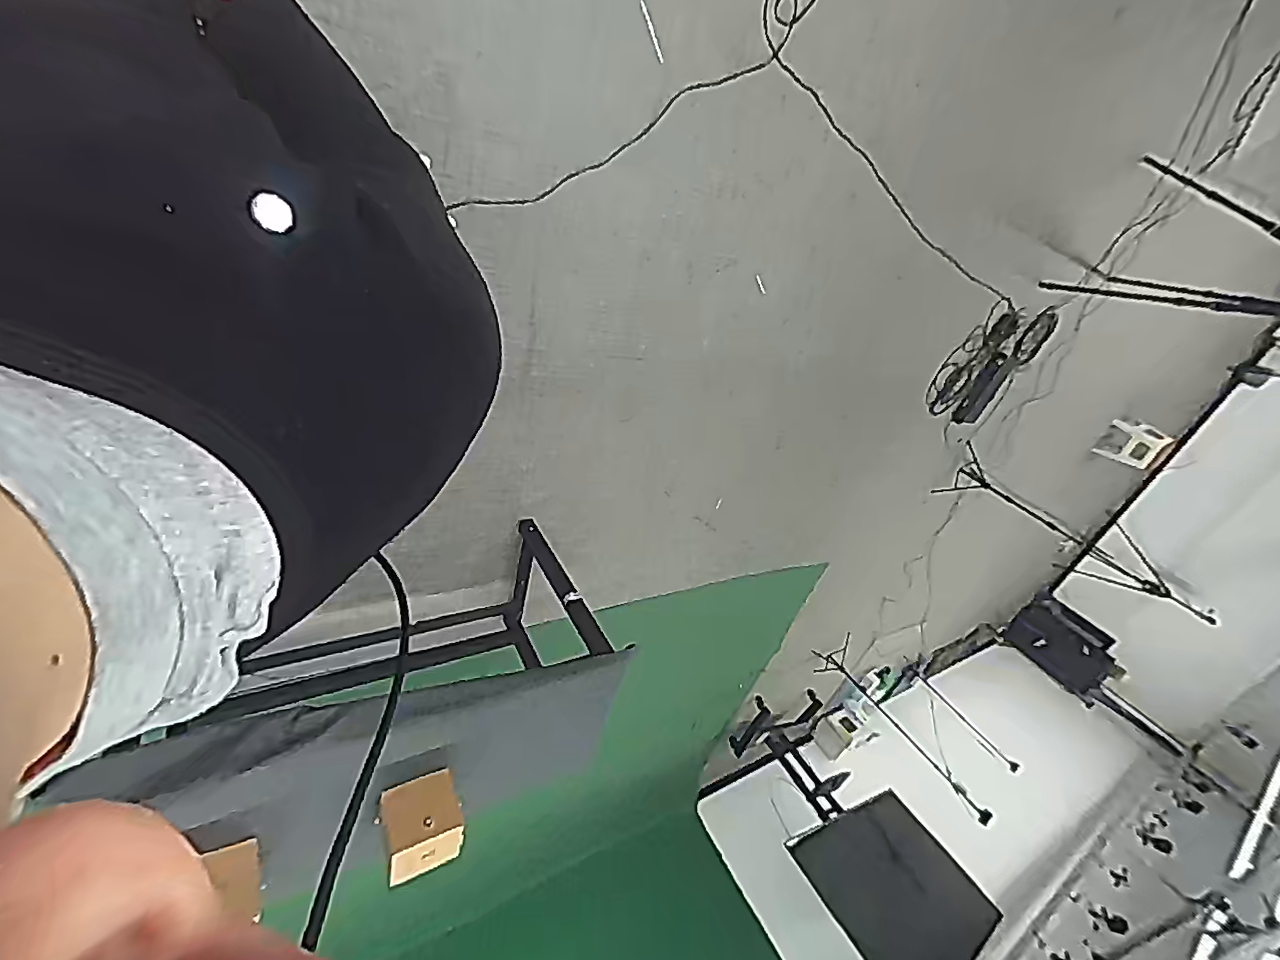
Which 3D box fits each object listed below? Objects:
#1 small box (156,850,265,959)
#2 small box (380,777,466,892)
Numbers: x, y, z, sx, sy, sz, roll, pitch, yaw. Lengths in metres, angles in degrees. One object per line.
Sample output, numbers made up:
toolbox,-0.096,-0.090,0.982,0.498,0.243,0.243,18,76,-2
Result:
small box,-0.930,0.952,1.172,0.179,0.176,0.168,0,123,-38
small box,-0.575,0.924,1.426,0.179,0.176,0.168,-5,125,-33
